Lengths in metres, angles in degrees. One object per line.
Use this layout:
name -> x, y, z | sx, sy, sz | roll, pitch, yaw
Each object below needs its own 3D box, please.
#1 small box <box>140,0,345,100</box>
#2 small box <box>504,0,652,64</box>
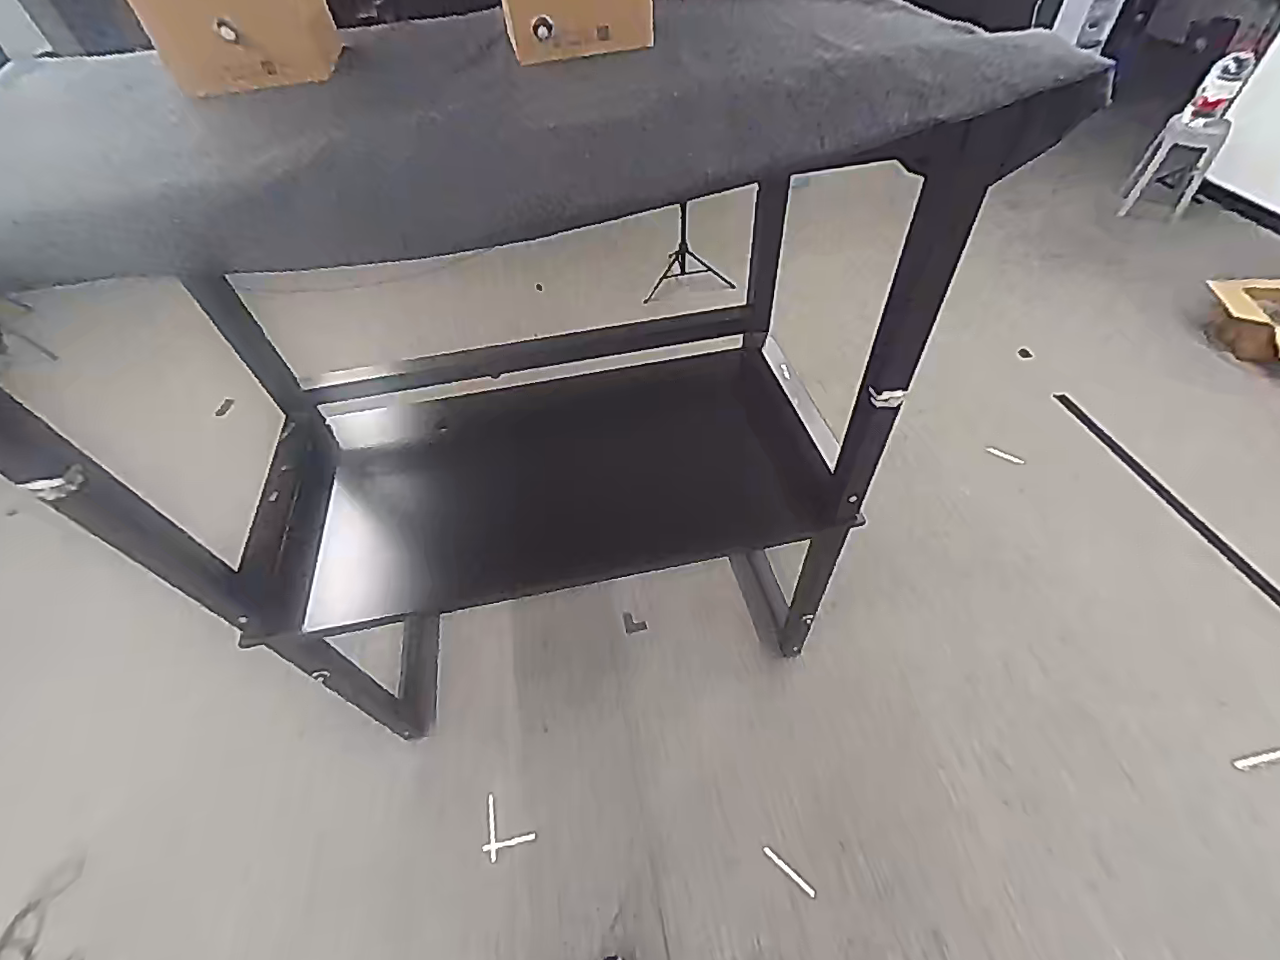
small box -> -0.475, -0.576, 0.639 | 0.168, 0.176, 0.179 | -13, 51, -6
small box -> -0.085, -0.619, 0.643 | 0.168, 0.176, 0.179 | -13, 49, -6
